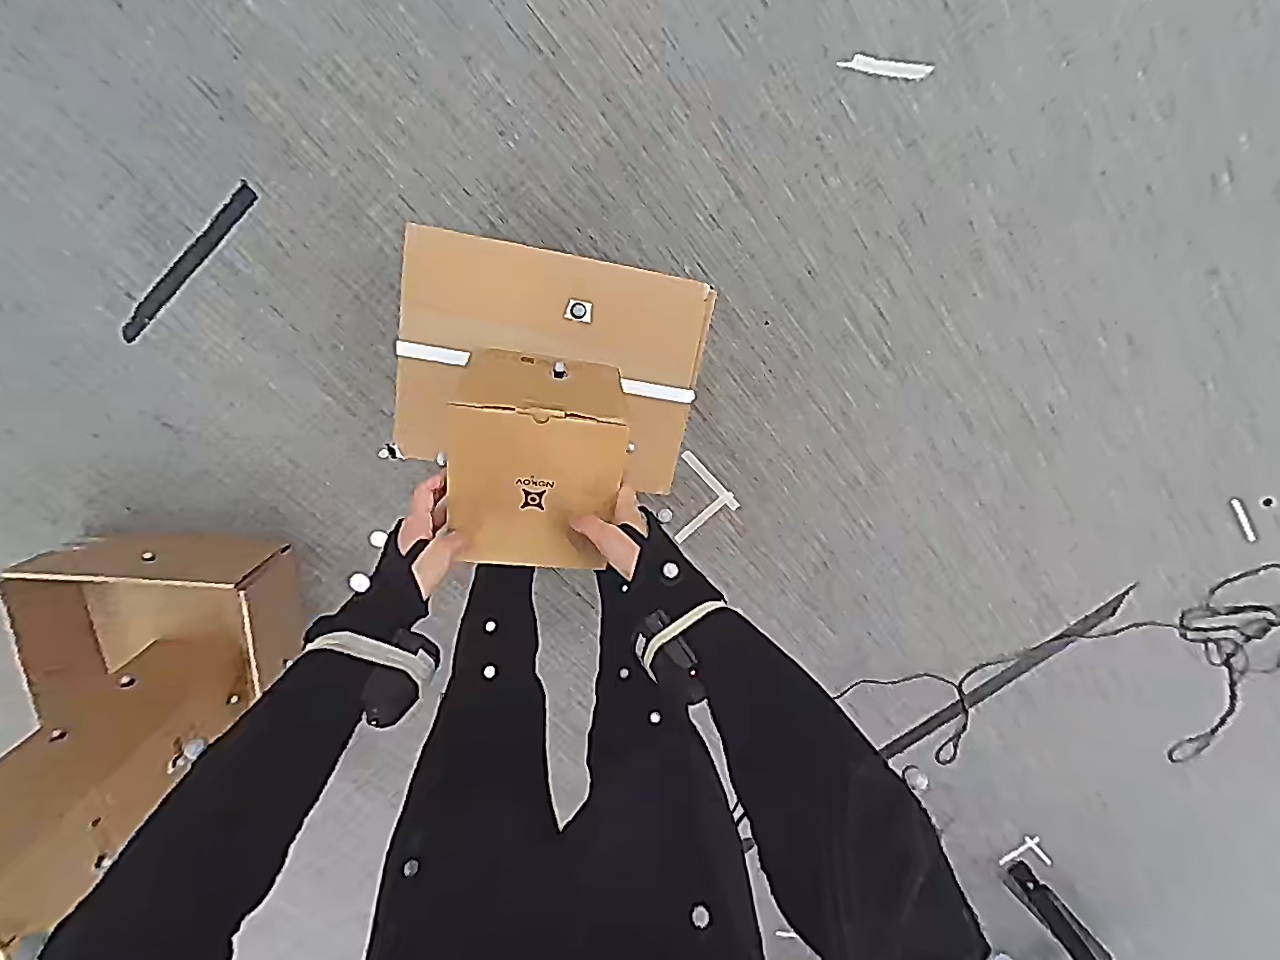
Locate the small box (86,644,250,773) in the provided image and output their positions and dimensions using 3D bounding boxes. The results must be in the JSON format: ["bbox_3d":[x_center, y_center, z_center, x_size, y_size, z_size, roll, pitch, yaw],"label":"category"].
[{"bbox_3d":[-0.918,0.444,1.069,0.179,0.176,0.168,7,109,-7],"label":"small box"}]

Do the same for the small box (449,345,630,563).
[{"bbox_3d":[-0.110,-0.032,0.597,0.168,0.176,0.179,5,118,-10],"label":"small box"}]
